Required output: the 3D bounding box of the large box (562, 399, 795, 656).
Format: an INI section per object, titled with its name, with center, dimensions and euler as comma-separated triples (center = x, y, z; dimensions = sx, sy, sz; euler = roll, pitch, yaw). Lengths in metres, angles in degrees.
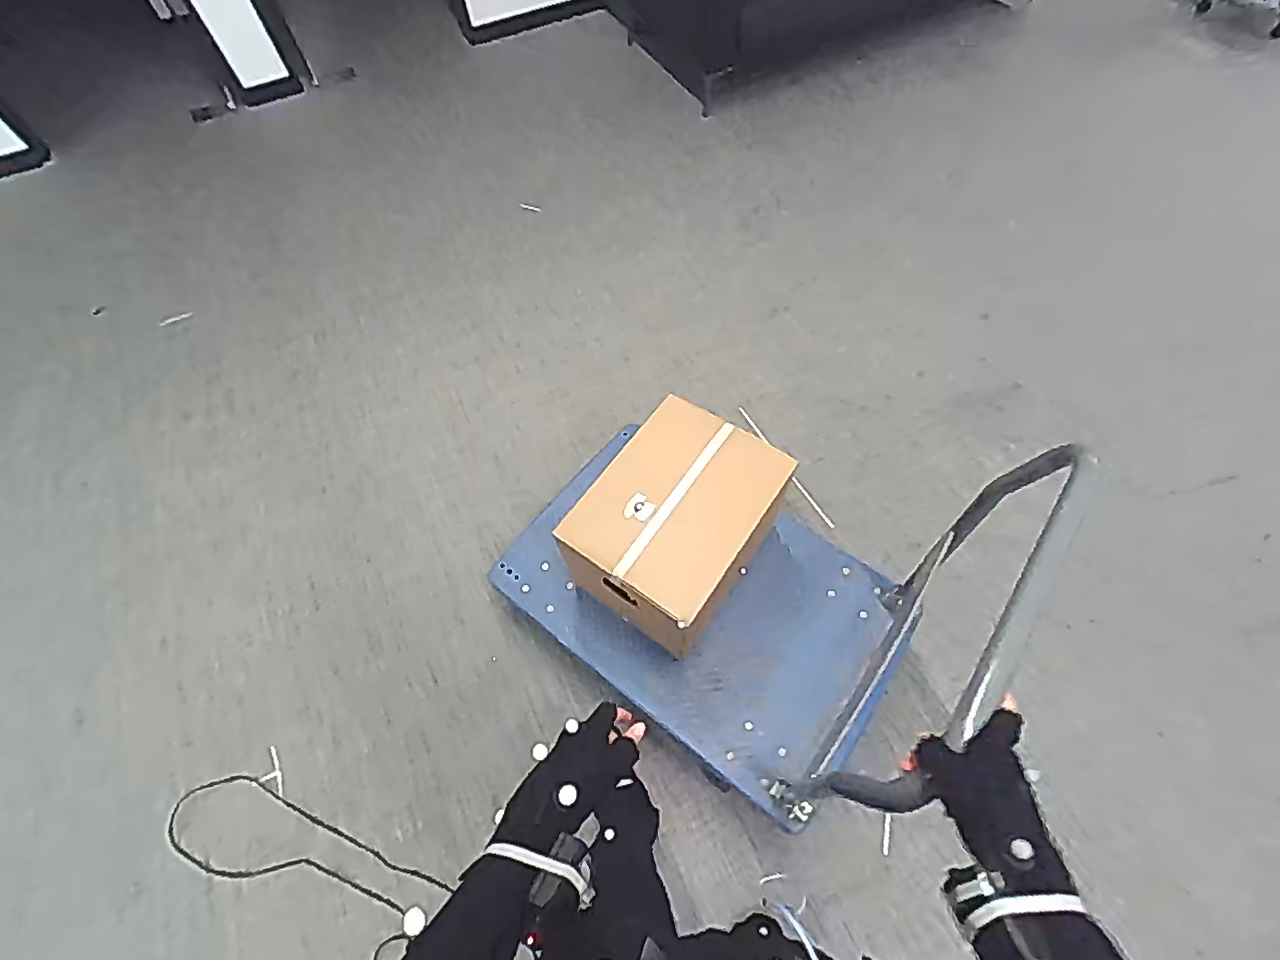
[large box]
center = 0.089, 0.109, 1.191
dimensions = 0.320, 0.320, 0.408
euler = 30, 67, 18
